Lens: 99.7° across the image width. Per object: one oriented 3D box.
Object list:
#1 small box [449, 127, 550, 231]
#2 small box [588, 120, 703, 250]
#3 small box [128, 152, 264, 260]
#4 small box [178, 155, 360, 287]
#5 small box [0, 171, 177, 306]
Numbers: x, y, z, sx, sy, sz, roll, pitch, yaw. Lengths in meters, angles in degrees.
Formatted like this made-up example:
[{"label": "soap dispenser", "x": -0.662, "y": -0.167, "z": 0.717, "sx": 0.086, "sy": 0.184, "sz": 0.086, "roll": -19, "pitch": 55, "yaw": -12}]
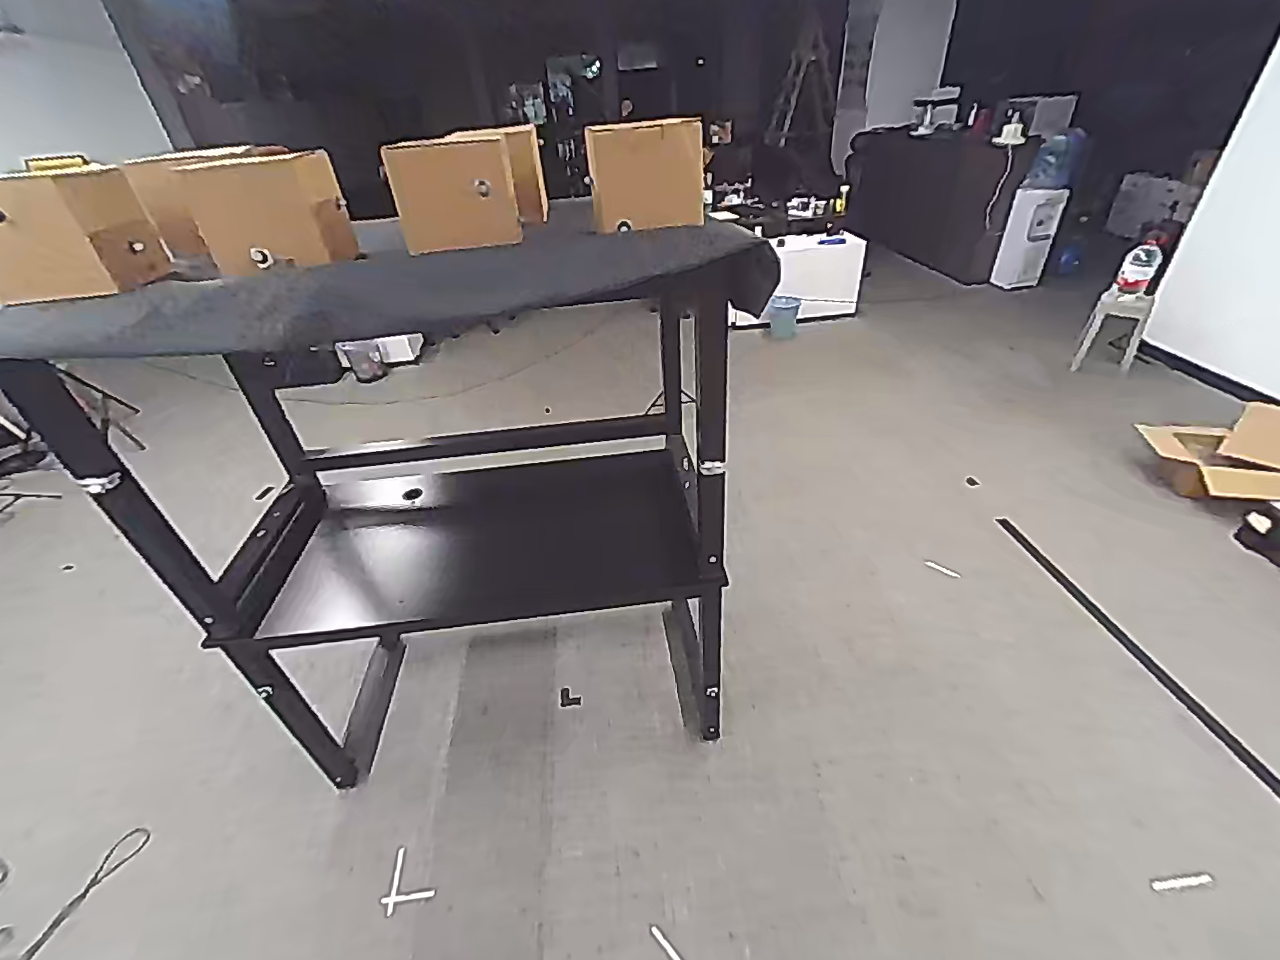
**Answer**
[{"label": "small box", "x": -0.287, "y": -0.633, "z": 1.142, "sx": 0.168, "sy": 0.176, "sz": 0.179, "roll": -7, "pitch": 36, "yaw": -3}, {"label": "small box", "x": 0.009, "y": -0.493, "z": 0.909, "sx": 0.168, "sy": 0.176, "sz": 0.179, "roll": -9, "pitch": 34, "yaw": -5}, {"label": "small box", "x": -0.859, "y": -0.560, "z": 1.104, "sx": 0.179, "sy": 0.176, "sz": 0.168, "roll": -7, "pitch": 36, "yaw": -5}, {"label": "small box", "x": -0.584, "y": -0.424, "z": 0.884, "sx": 0.168, "sy": 0.176, "sz": 0.179, "roll": -10, "pitch": 35, "yaw": -6}, {"label": "small box", "x": -0.913, "y": -0.387, "z": 0.864, "sx": 0.179, "sy": 0.176, "sz": 0.168, "roll": -8, "pitch": 35, "yaw": -6}]
